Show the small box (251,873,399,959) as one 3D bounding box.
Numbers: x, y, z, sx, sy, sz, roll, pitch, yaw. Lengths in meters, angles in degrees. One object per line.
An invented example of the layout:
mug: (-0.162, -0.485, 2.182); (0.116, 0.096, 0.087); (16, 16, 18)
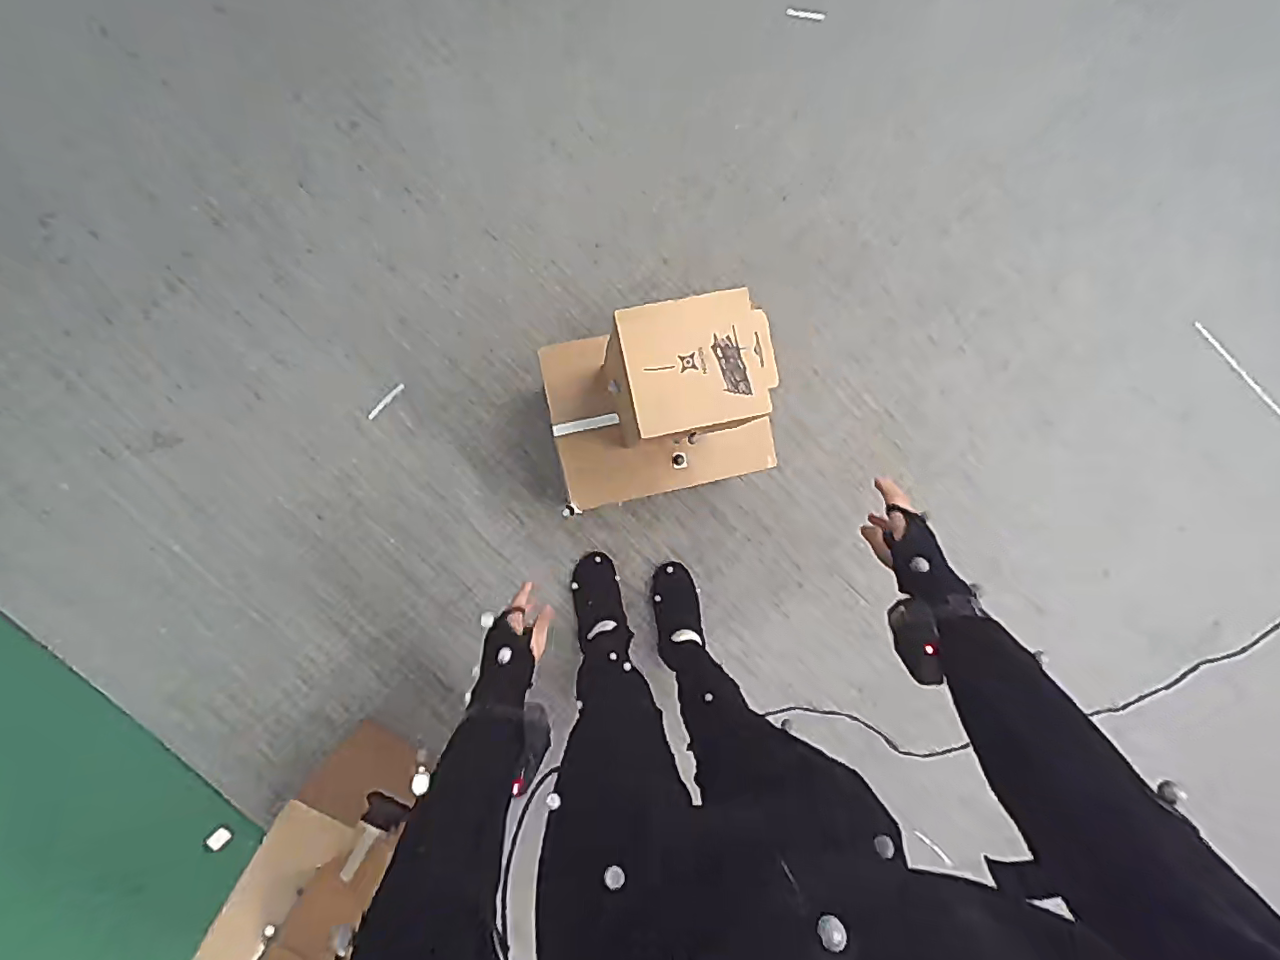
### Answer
small box: (-0.513, 0.772, 0.844); (0.179, 0.176, 0.168); (36, 85, -5)

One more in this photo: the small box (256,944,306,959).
small box: (-0.498, 0.763, 0.682); (0.168, 0.176, 0.179); (37, 85, -5)

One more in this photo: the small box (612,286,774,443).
small box: (0.063, -0.150, 0.754); (0.179, 0.176, 0.168); (-12, 90, -5)
